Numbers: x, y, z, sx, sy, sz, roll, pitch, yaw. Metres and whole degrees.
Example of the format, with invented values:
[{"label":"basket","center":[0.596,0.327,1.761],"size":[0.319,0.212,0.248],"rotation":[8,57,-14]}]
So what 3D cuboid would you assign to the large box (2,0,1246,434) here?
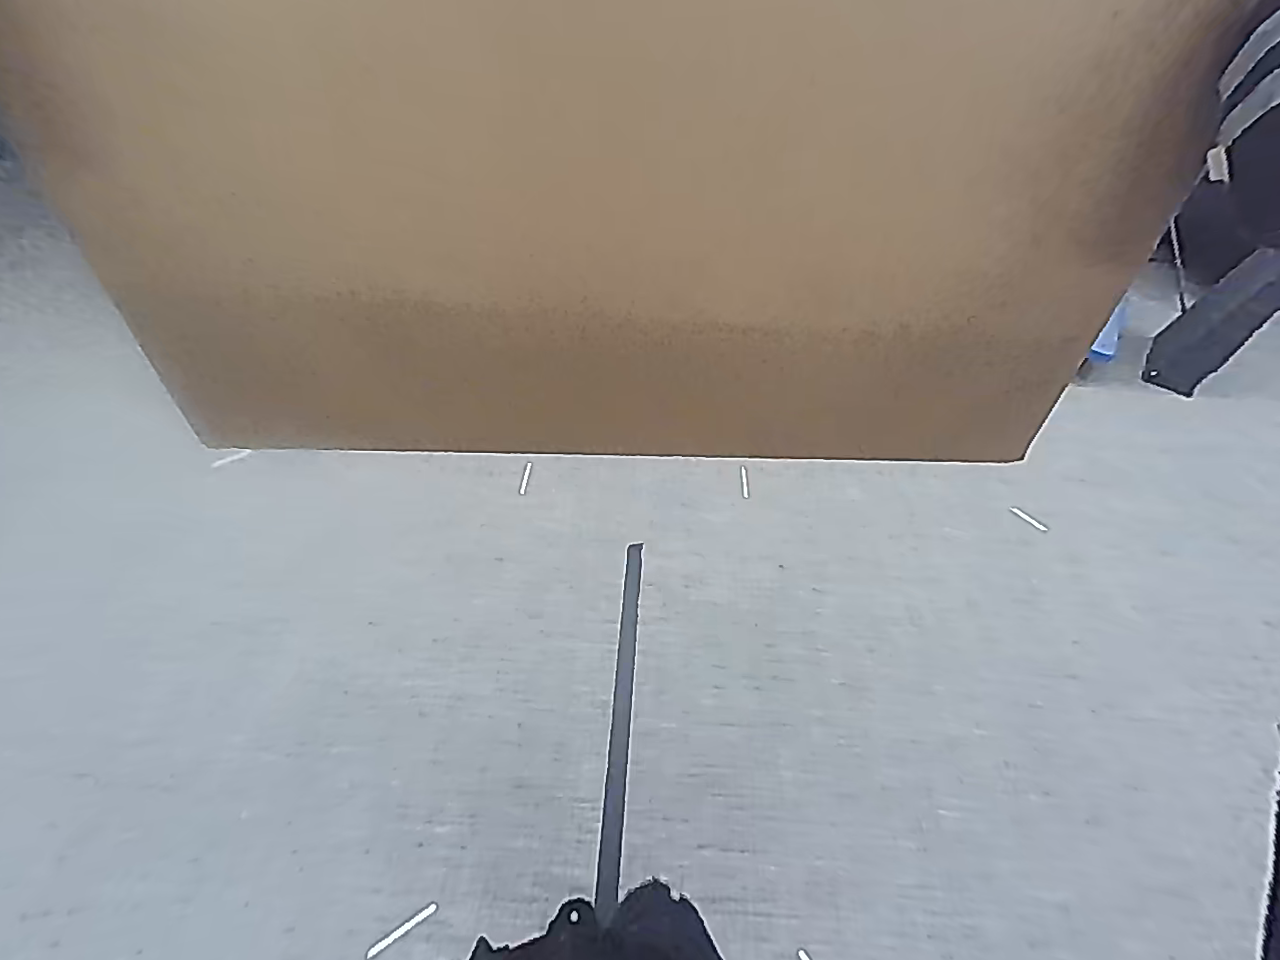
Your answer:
[{"label":"large box","center":[-0.006,-0.235,0.291],"size":[0.408,0.320,0.320],"rotation":[2,41,-2]}]
